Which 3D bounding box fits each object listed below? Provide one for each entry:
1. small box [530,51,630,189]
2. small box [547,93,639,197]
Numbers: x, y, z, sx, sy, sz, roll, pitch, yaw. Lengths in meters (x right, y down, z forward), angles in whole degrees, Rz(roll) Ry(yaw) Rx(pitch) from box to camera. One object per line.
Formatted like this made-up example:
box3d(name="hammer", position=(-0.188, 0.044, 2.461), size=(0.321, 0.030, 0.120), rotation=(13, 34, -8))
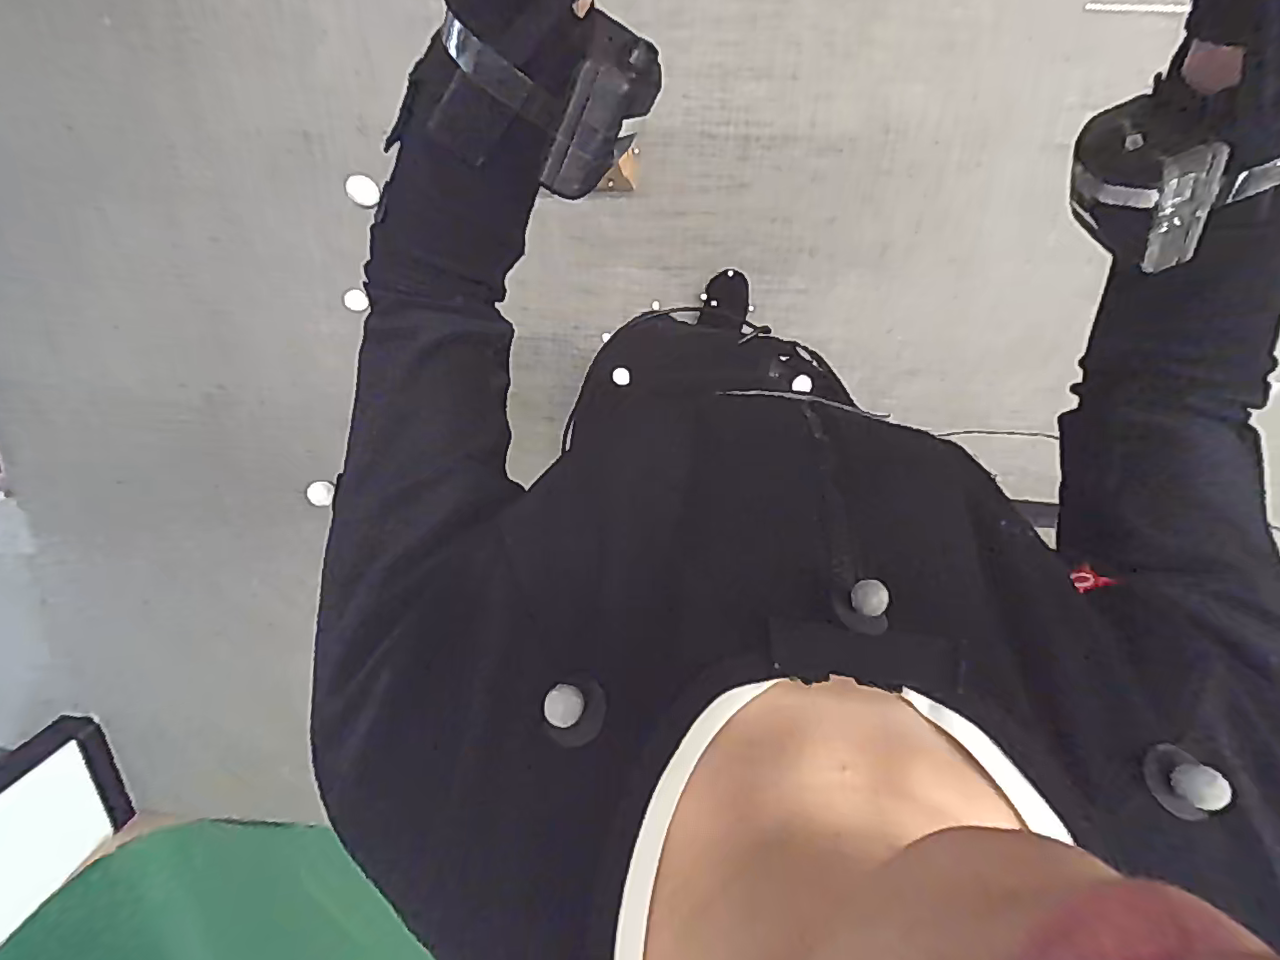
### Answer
box3d(name="small box", position=(-0.109, -0.673, 1.027), size=(0.168, 0.176, 0.179), rotation=(4, 107, 3))
box3d(name="small box", position=(-0.099, -0.726, 1.183), size=(0.179, 0.176, 0.168), rotation=(4, 109, 2))
